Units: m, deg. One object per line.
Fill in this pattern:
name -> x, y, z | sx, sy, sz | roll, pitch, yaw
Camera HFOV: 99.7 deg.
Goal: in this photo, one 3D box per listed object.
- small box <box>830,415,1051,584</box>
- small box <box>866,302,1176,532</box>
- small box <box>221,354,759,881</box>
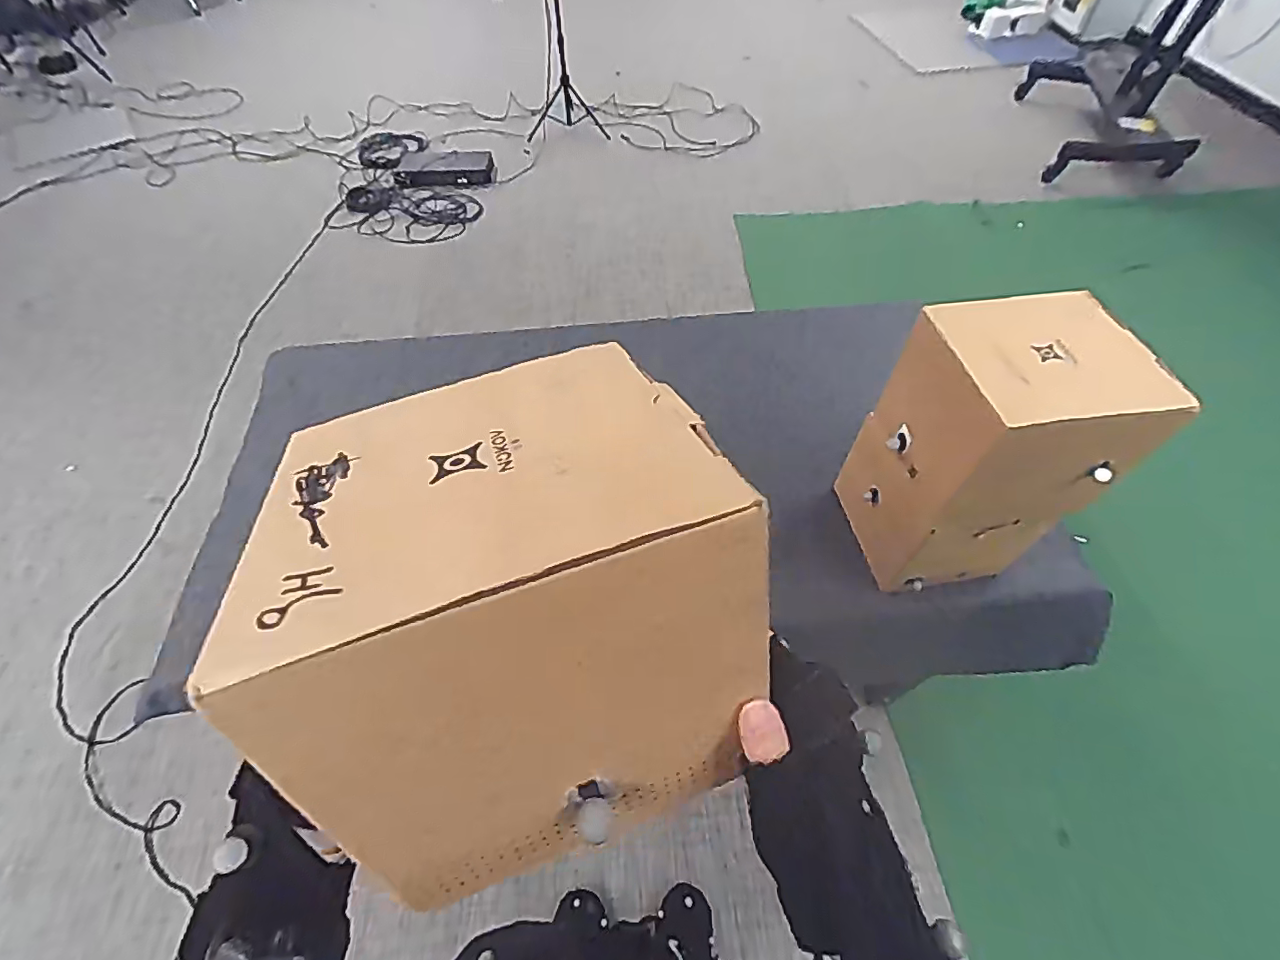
small box -> 0.374, 0.024, 0.711 | 0.168, 0.176, 0.179 | -8, 54, -5
small box -> 0.373, -0.062, 0.574 | 0.179, 0.176, 0.168 | -7, 53, -3
small box -> -0.056, 0.058, 0.280 | 0.179, 0.176, 0.168 | -17, 35, -12
